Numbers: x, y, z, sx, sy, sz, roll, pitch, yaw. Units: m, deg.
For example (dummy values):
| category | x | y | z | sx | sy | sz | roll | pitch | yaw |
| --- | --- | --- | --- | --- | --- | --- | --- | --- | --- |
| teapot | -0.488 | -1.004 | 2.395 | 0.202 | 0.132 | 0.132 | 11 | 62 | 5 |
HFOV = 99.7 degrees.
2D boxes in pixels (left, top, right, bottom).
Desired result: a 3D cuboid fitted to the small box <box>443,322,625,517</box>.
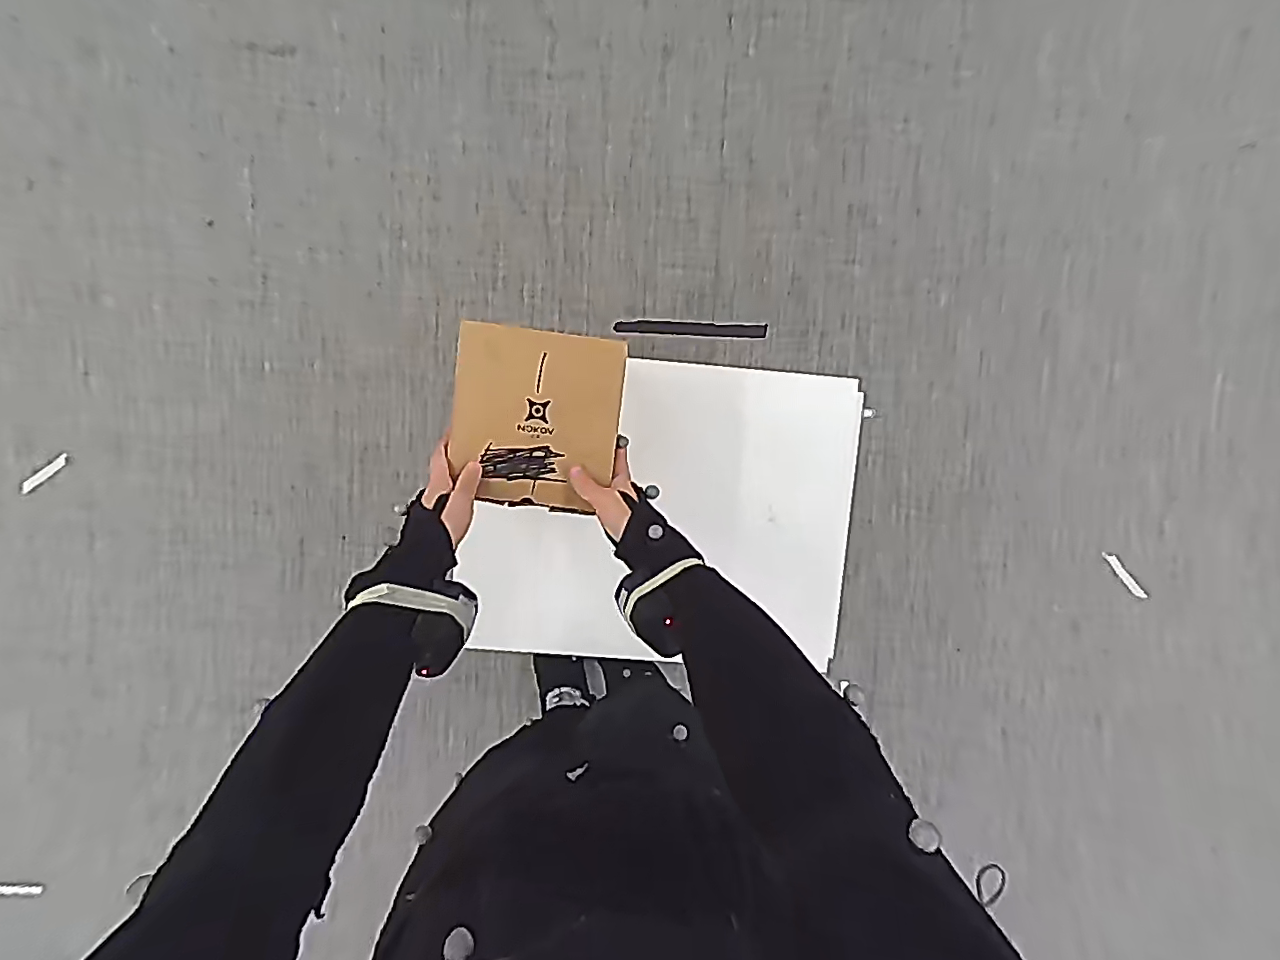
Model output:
| category | x | y | z | sx | sy | sz | roll | pitch | yaw |
| --- | --- | --- | --- | --- | --- | --- | --- | --- | --- |
| small box | -0.107 | -0.063 | 0.611 | 0.168 | 0.176 | 0.179 | 6 | 93 | -3 |
